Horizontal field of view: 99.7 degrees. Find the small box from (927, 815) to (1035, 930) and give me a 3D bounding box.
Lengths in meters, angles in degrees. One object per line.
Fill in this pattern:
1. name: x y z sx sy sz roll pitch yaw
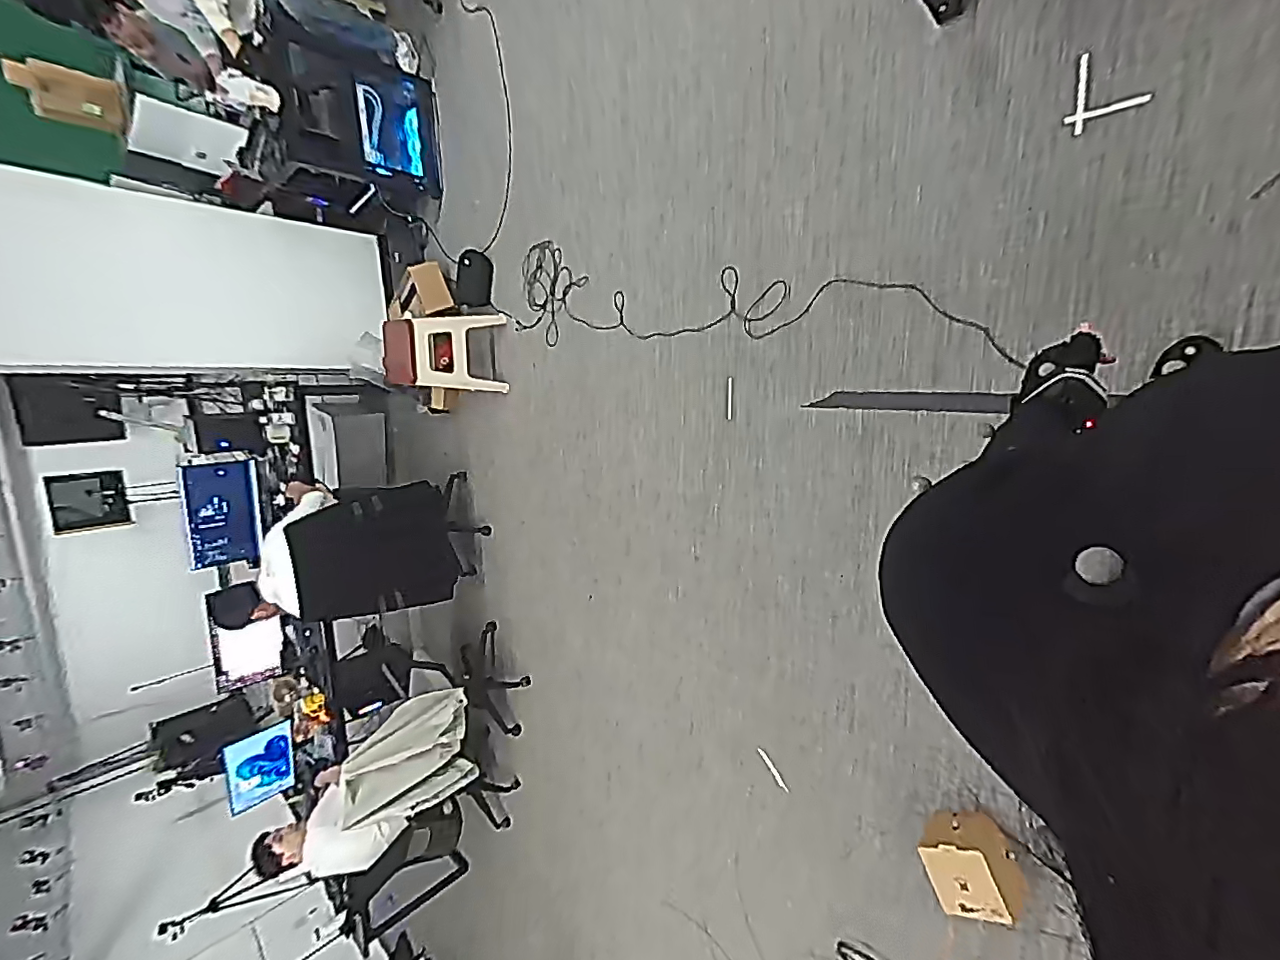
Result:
1. small box: 0.884 1.003 1.402 0.168 0.176 0.179 -31 76 44
